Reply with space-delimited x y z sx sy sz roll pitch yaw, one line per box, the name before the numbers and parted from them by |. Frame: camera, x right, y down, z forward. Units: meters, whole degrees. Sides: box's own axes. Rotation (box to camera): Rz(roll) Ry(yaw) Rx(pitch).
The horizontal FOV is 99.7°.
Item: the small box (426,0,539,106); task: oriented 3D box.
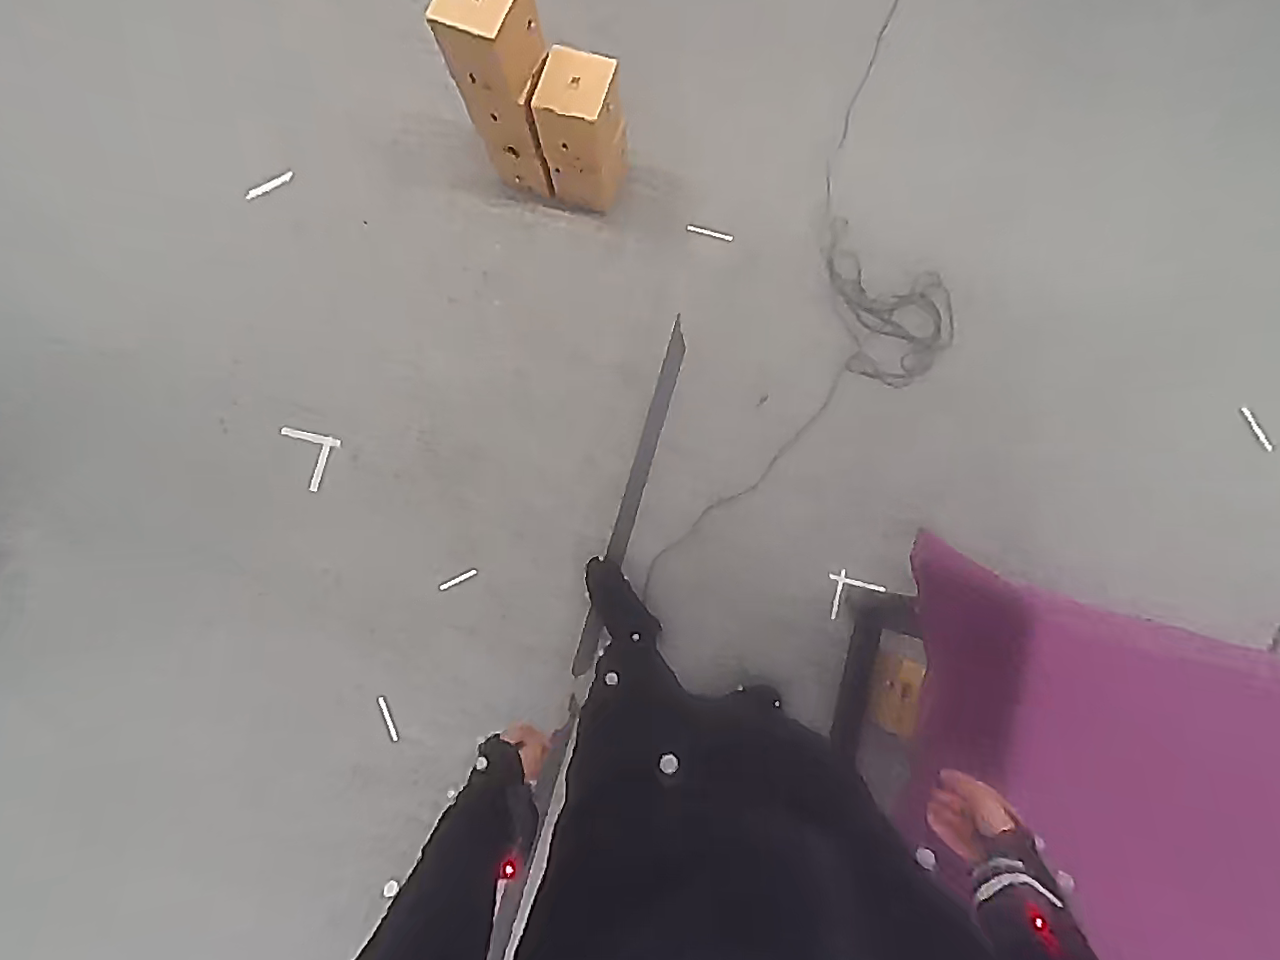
small box | -0.339 -0.996 1.210 0.168 0.176 0.179 23 83 5
